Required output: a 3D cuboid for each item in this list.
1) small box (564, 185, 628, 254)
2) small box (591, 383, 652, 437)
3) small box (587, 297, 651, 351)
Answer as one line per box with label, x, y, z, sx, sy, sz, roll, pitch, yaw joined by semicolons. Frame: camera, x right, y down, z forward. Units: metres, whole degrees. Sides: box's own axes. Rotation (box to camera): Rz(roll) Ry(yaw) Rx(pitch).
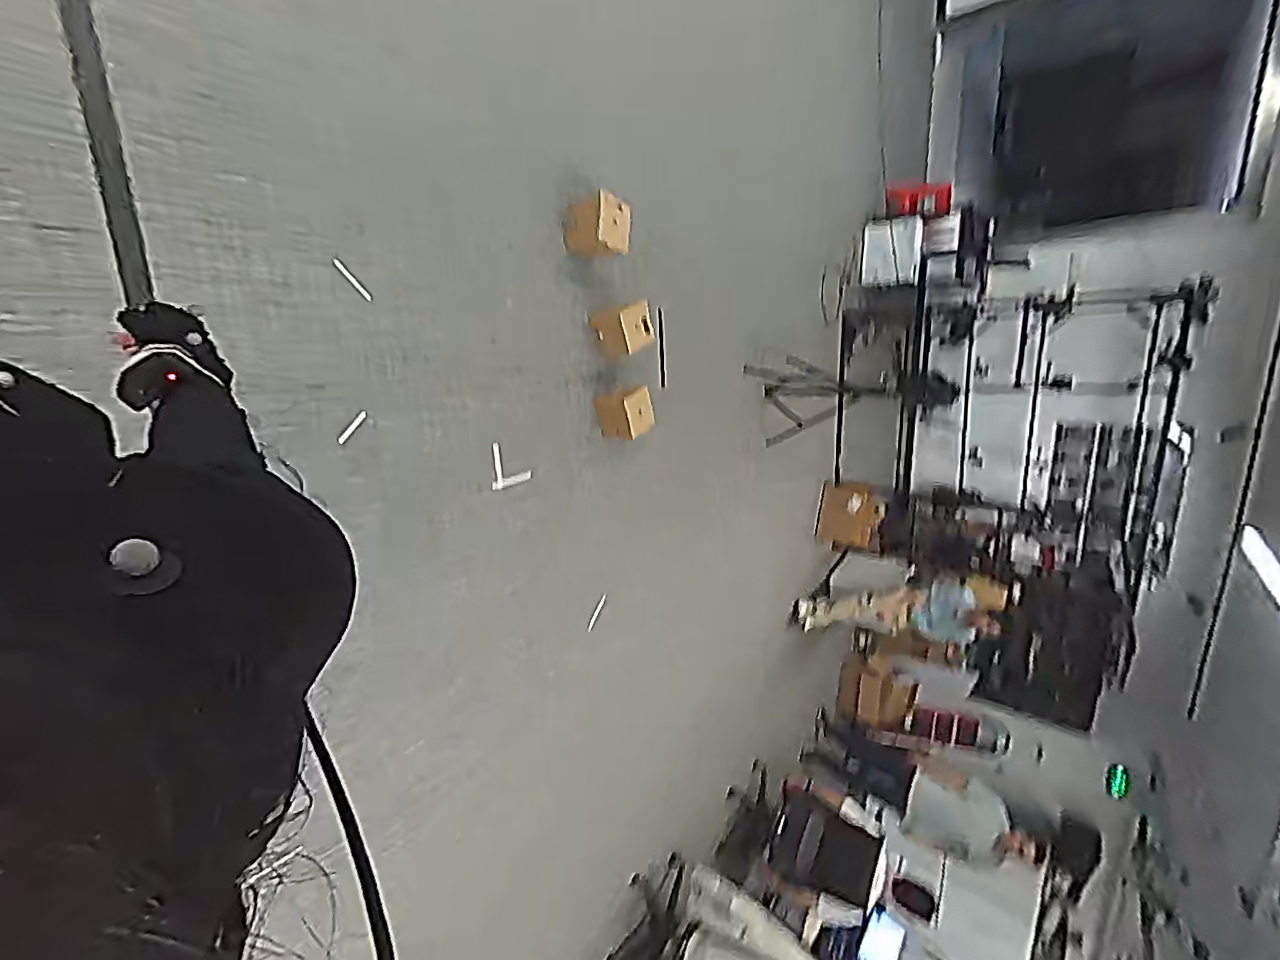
small box;-0.168;-0.961;2.015;0.168;0.176;0.179;1;96;-52
small box;-0.077;-0.297;2.257;0.168;0.176;0.179;-42;127;-40
small box;-0.084;-0.629;2.181;0.179;0.176;0.168;-41;127;-39
